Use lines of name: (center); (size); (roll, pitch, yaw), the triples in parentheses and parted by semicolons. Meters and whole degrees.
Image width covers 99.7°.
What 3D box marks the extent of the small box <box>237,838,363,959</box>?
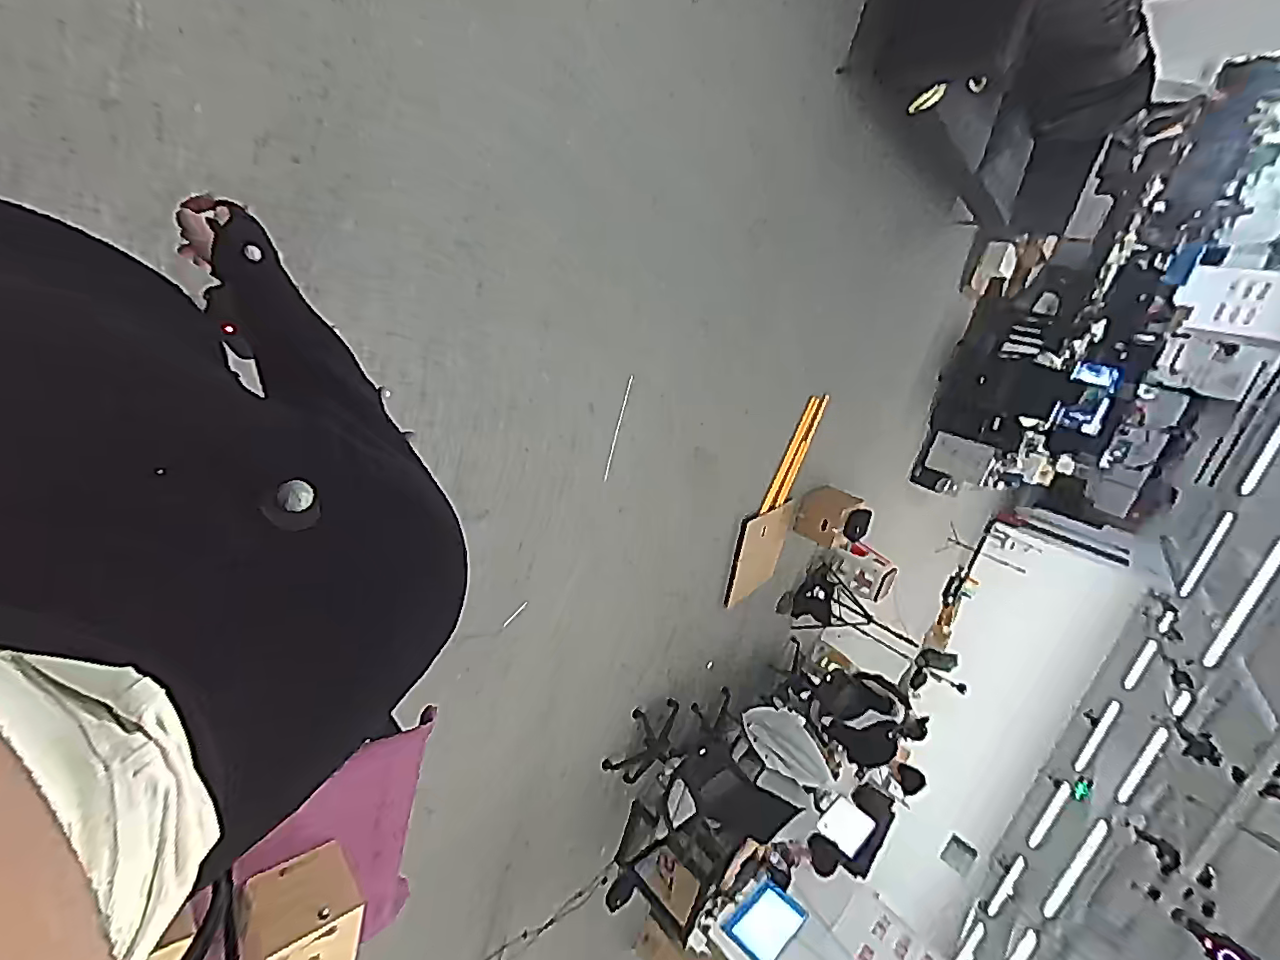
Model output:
small box: (-0.675, 0.866, 1.068); (0.168, 0.176, 0.179); (-2, 114, -49)
